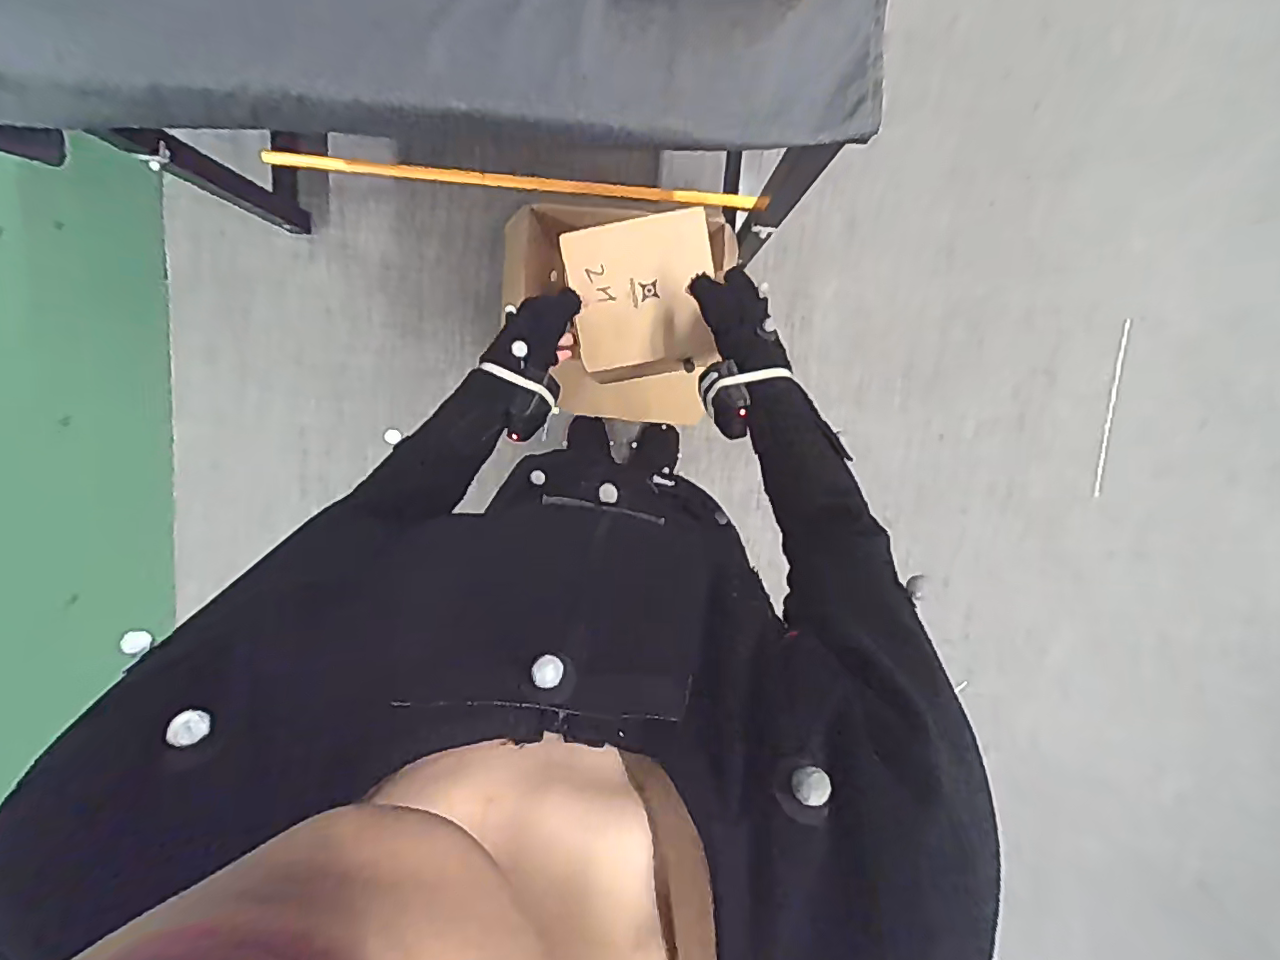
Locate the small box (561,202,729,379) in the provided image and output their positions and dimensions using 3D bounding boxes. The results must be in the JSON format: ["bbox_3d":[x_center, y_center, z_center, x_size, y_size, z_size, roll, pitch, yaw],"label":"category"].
[{"bbox_3d":[0.009,-0.233,0.707,0.179,0.176,0.168,-10,94,4],"label":"small box"}]
